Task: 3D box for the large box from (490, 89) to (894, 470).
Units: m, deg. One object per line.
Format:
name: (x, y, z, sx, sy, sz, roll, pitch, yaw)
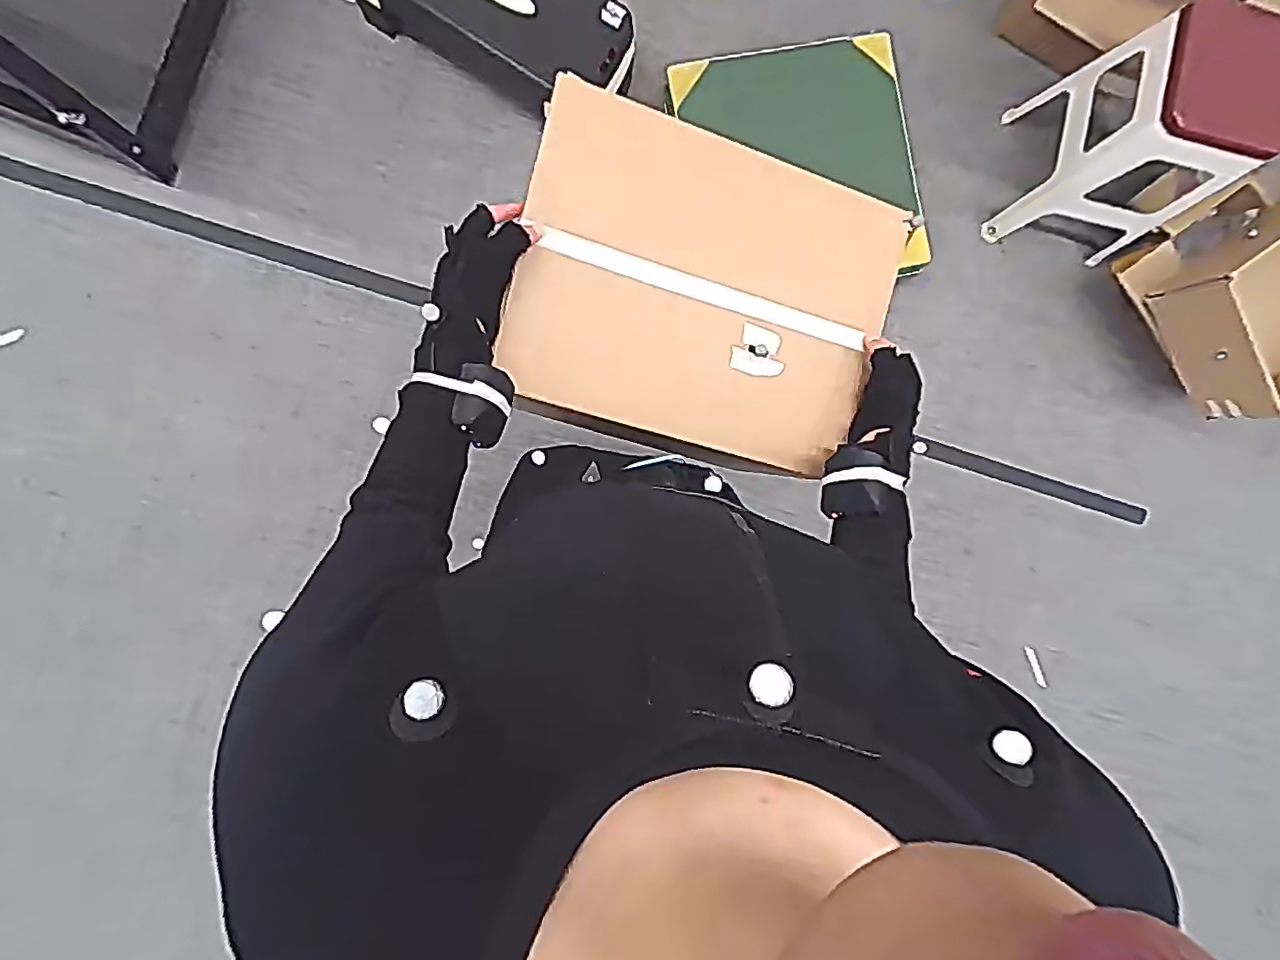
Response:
large box: (0.040, -0.214, 0.730, 0.408, 0.320, 0.320, 15, 92, -12)
